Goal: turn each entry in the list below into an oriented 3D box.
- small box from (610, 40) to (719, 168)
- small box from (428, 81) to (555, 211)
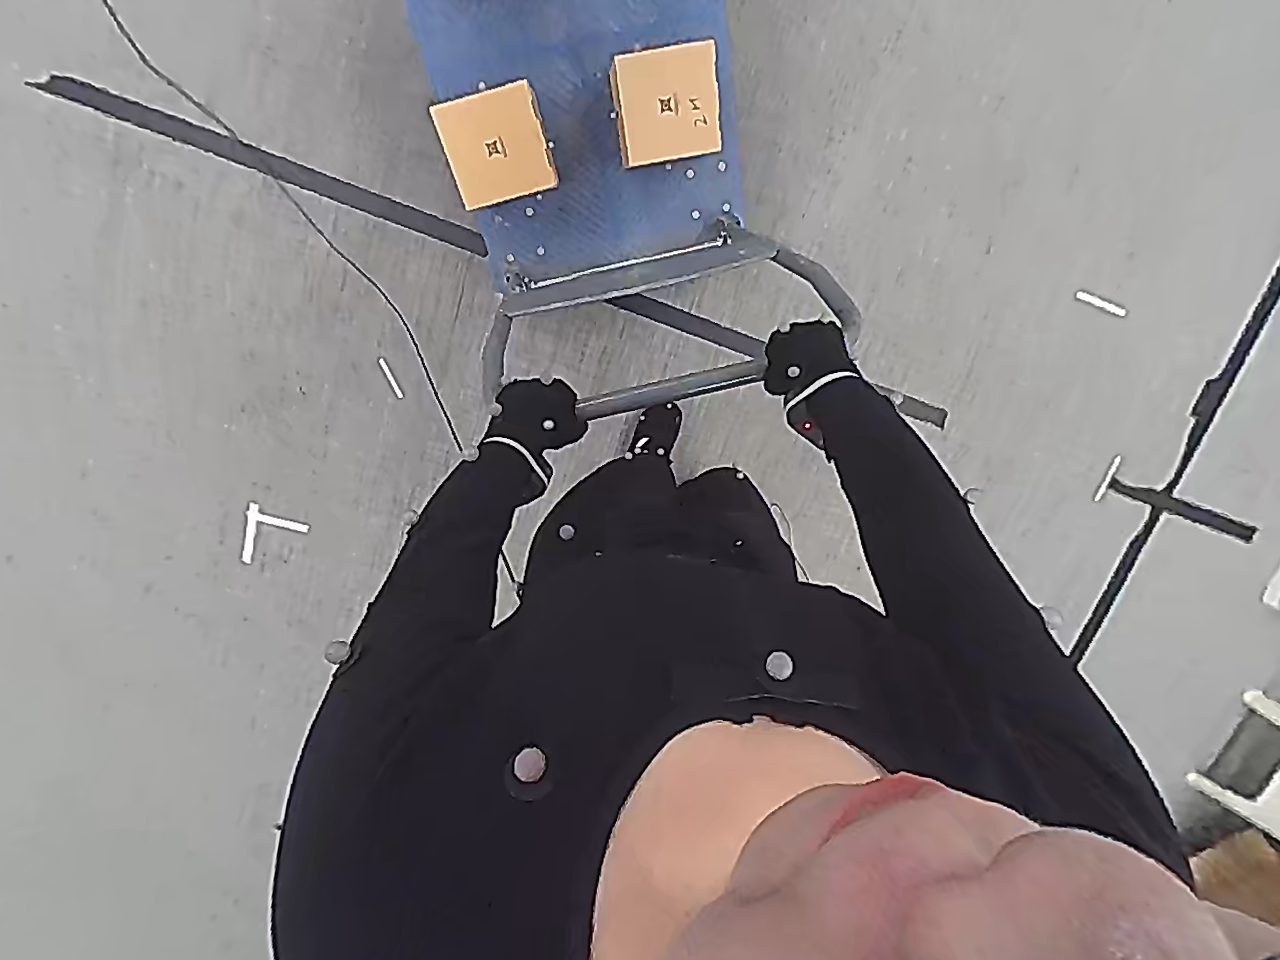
[{"bbox_3d":[0.041,-0.694,1.016,0.179,0.176,0.168,-11,120,-1],"label":"small box"},{"bbox_3d":[-0.267,-0.619,1.020,0.179,0.176,0.168,-16,119,1],"label":"small box"}]
